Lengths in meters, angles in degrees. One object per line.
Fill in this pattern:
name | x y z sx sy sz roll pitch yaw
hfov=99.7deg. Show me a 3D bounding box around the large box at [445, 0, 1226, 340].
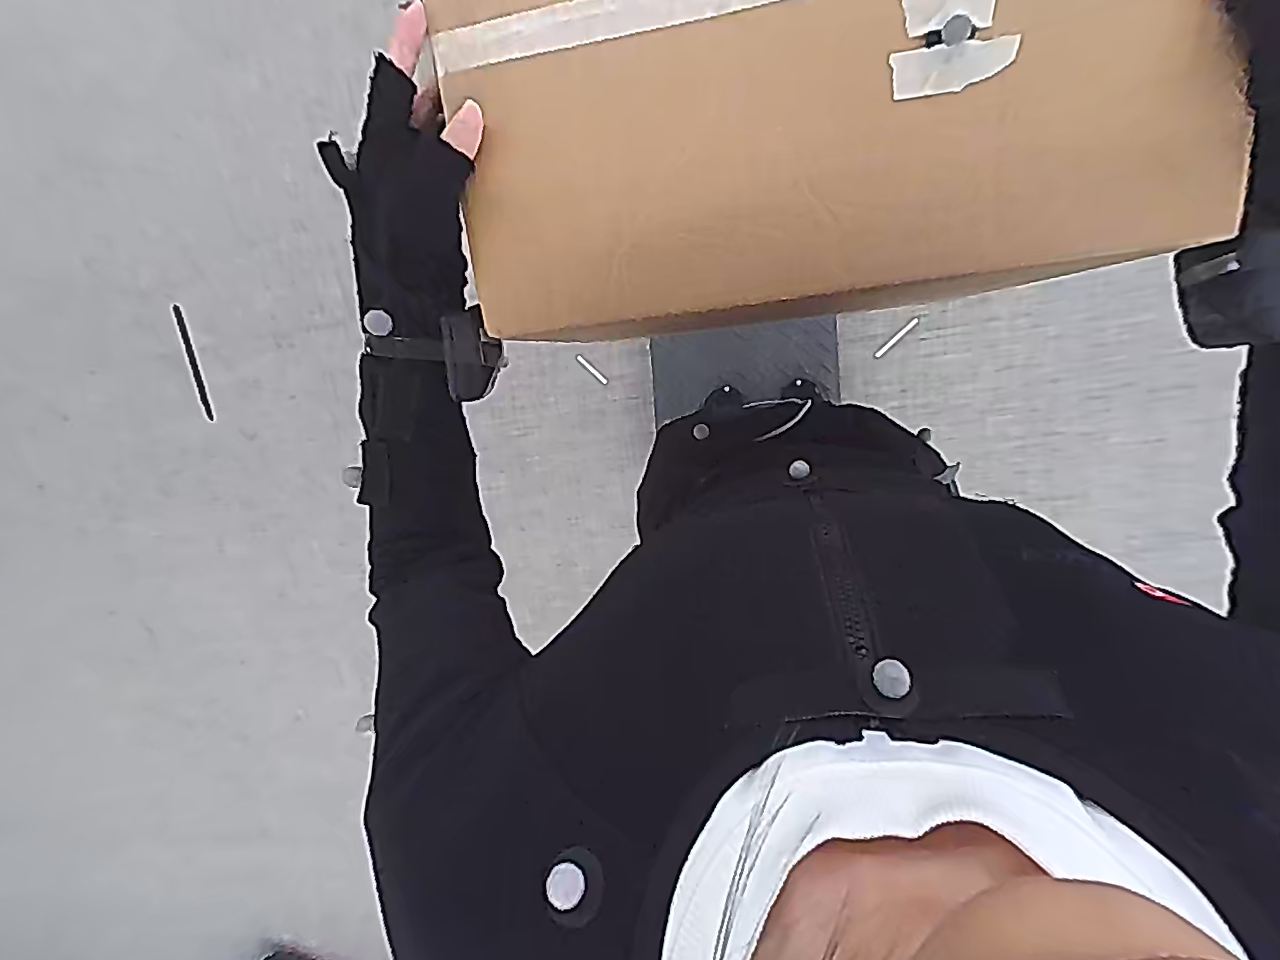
large box | 0.104 -0.298 0.430 0.408 0.320 0.320 -5 103 9
